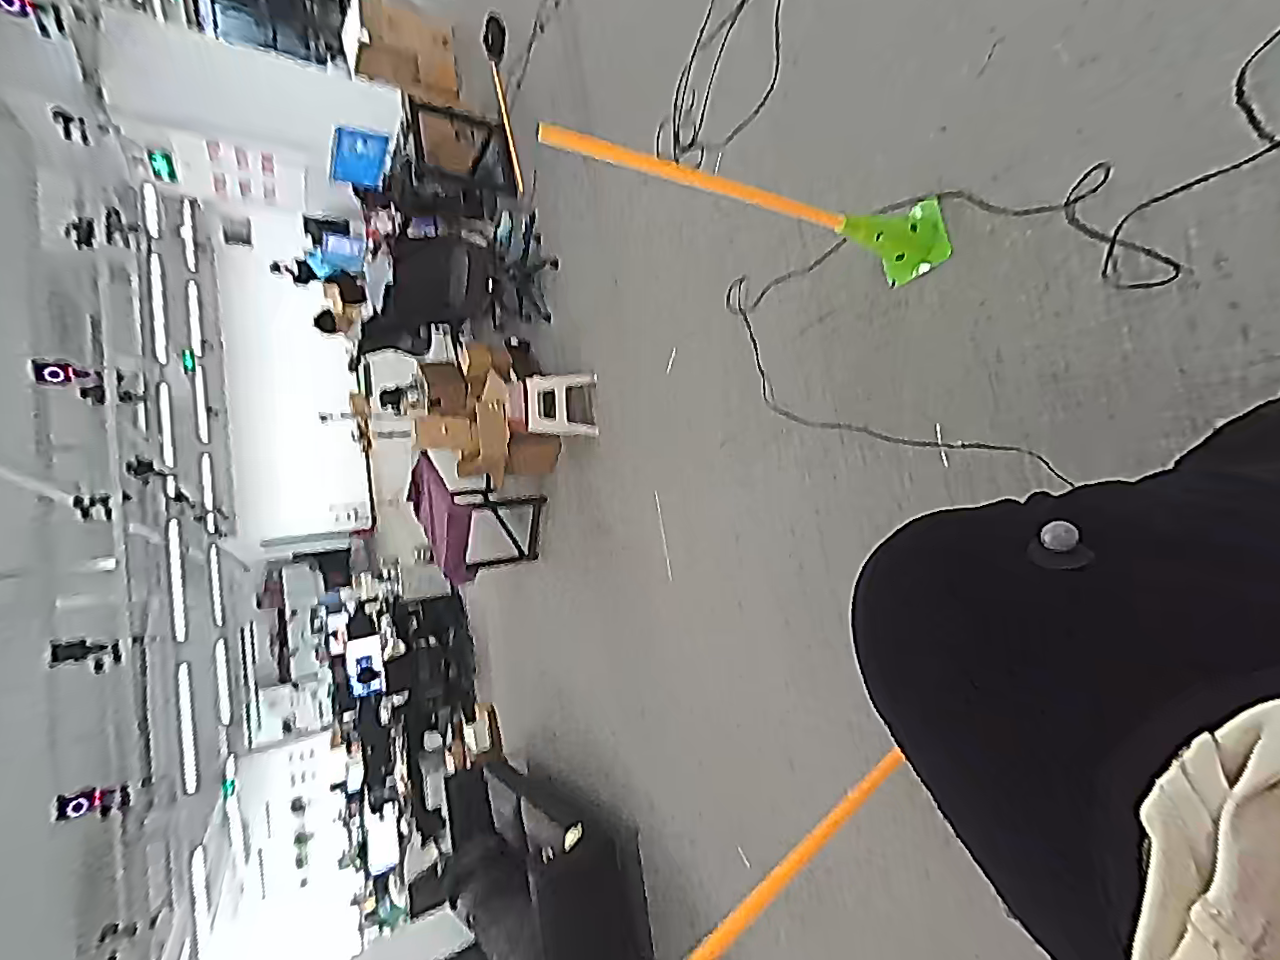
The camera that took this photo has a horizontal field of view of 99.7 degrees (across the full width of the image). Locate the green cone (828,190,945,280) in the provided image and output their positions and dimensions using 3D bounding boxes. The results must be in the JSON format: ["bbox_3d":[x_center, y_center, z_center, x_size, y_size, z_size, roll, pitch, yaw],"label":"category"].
[{"bbox_3d":[0.681,-0.736,1.565,0.200,0.368,0.202,-23,74,55],"label":"green cone"}]
